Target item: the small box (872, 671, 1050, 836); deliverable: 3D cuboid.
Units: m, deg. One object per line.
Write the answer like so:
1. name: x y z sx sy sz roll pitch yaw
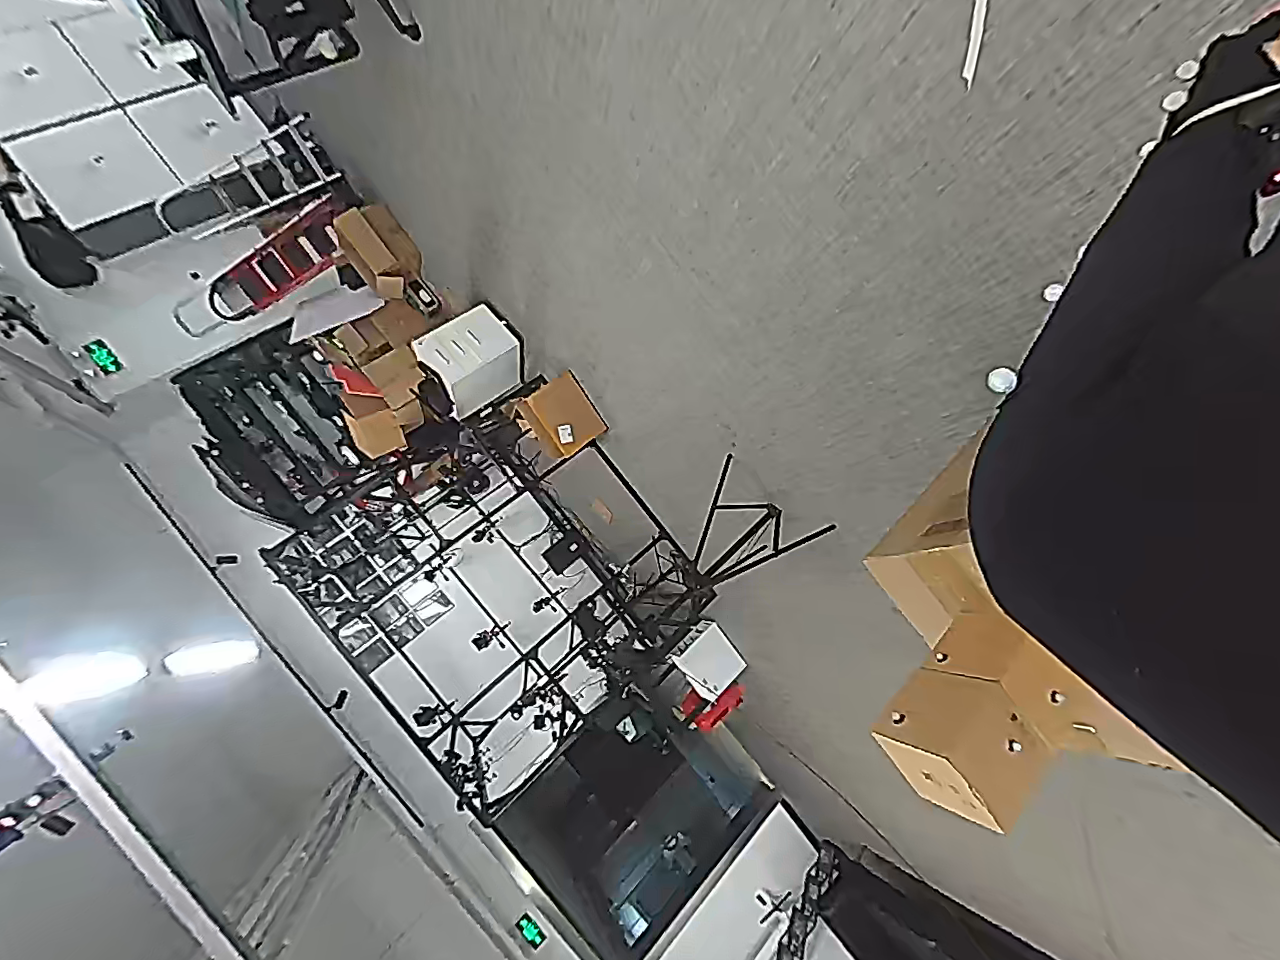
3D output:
1. small box: 0.557 0.460 0.945 0.168 0.176 0.179 51 158 -5

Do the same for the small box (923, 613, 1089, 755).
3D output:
1. small box: 0.679 0.363 0.999 0.168 0.176 0.179 51 159 -2
